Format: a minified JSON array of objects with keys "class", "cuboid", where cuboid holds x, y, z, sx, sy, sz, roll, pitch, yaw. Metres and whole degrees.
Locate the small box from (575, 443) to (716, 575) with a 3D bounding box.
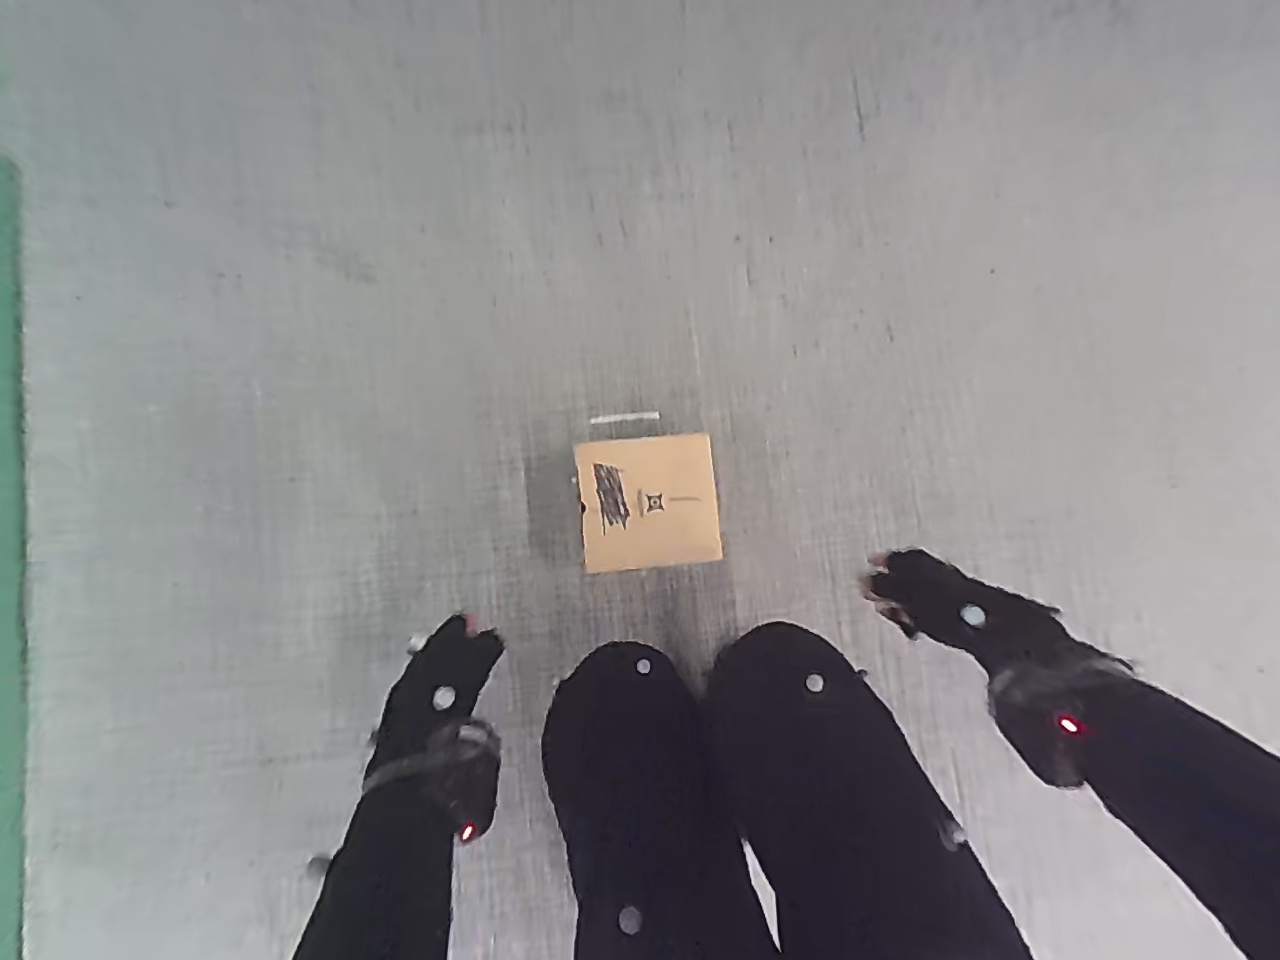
[{"class":"small box","cuboid":[0.004,0.046,0.784,0.179,0.176,0.168,-5,85,-4]}]
